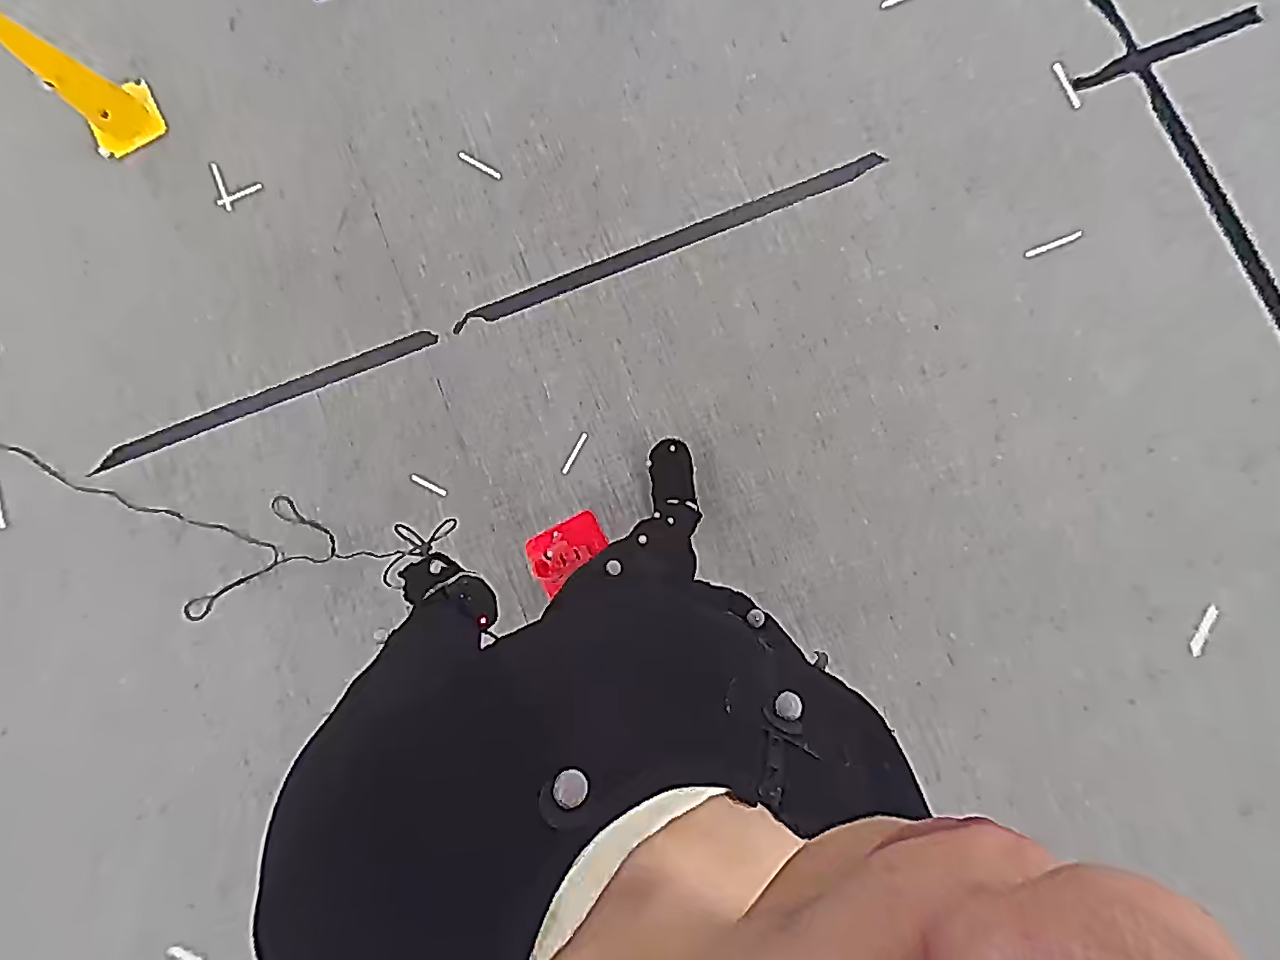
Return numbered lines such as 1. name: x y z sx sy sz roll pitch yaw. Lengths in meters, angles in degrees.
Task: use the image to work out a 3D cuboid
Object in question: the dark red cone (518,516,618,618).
1. dark red cone: -0.187 0.195 1.173 0.202 0.394 0.201 -29 82 0
